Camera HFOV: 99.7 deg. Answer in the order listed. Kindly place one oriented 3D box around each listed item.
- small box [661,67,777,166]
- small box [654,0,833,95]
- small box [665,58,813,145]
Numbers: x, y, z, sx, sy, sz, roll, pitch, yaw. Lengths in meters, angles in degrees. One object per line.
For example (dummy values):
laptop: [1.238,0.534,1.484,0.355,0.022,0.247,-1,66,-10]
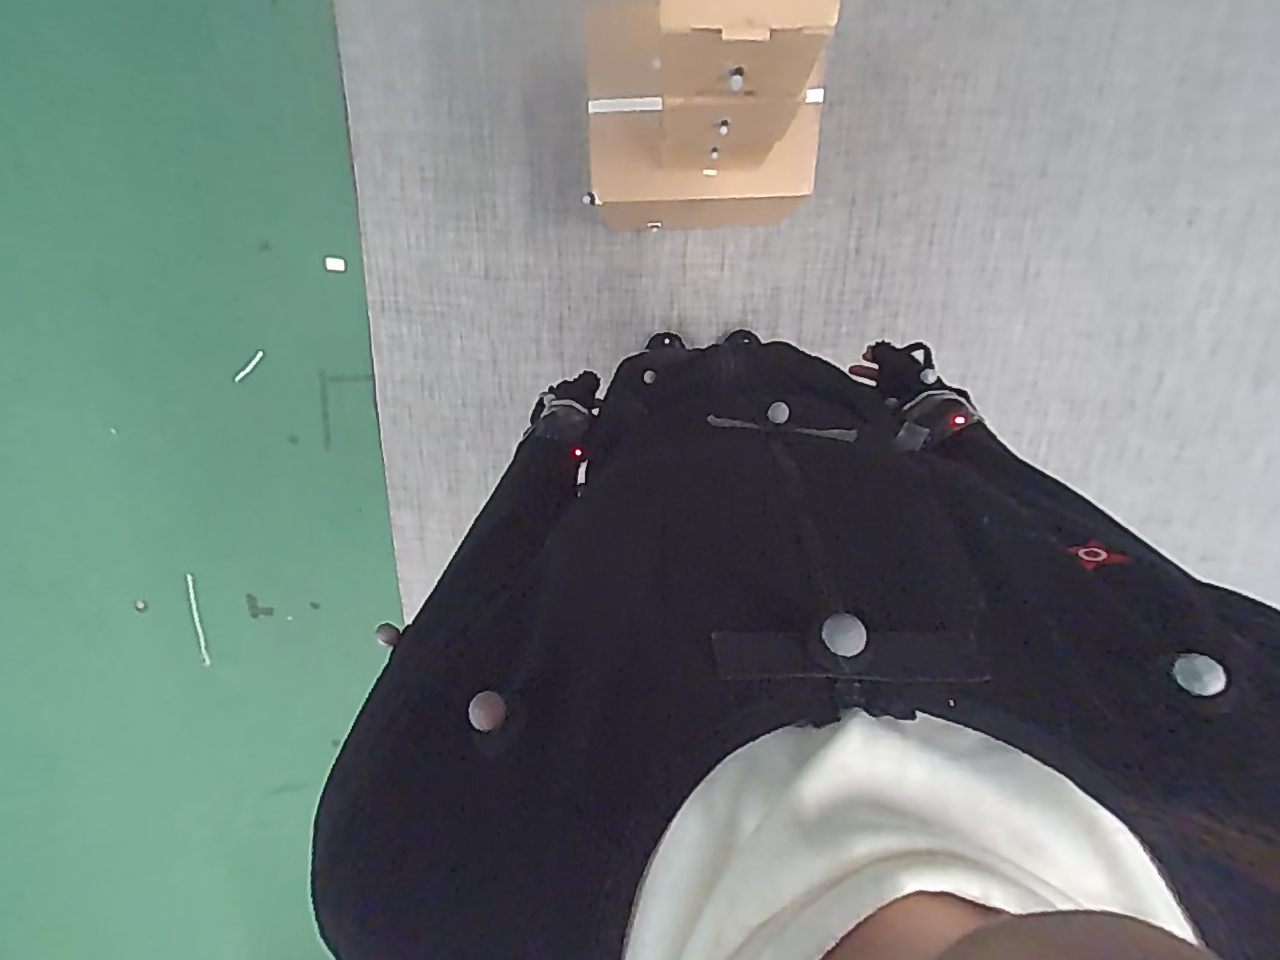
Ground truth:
small box: [0.126,-0.616,0.868,0.179,0.176,0.168,2,108,3]
small box: [0.108,-0.523,0.555,0.168,0.176,0.179,5,108,4]
small box: [0.121,-0.562,0.714,0.179,0.176,0.168,-2,107,4]
